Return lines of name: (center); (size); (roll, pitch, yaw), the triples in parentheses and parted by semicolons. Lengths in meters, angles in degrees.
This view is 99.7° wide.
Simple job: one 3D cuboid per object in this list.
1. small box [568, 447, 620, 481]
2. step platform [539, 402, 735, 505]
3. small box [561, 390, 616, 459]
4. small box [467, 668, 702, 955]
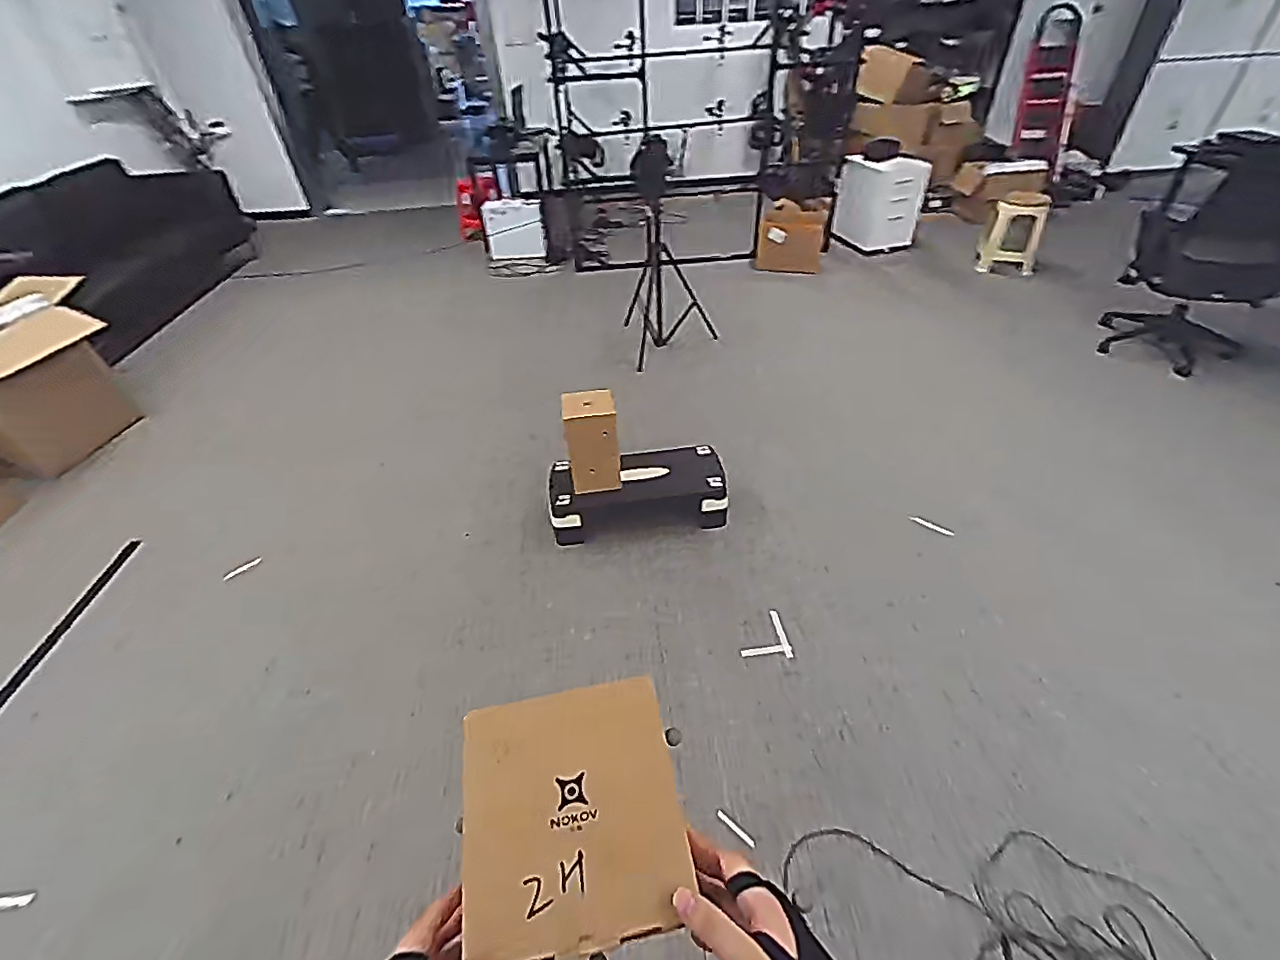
small box: (-0.170, -0.072, 2.005); (0.179, 0.176, 0.168); (-8, 41, -5)
step platform: (-0.009, -0.095, 1.964); (0.684, 0.204, 0.286); (-6, 40, -4)
small box: (-0.178, -0.195, 1.897); (0.179, 0.176, 0.168); (-8, 40, -6)
small box: (-0.051, 0.297, 0.486); (0.168, 0.176, 0.179); (-9, 50, -7)
